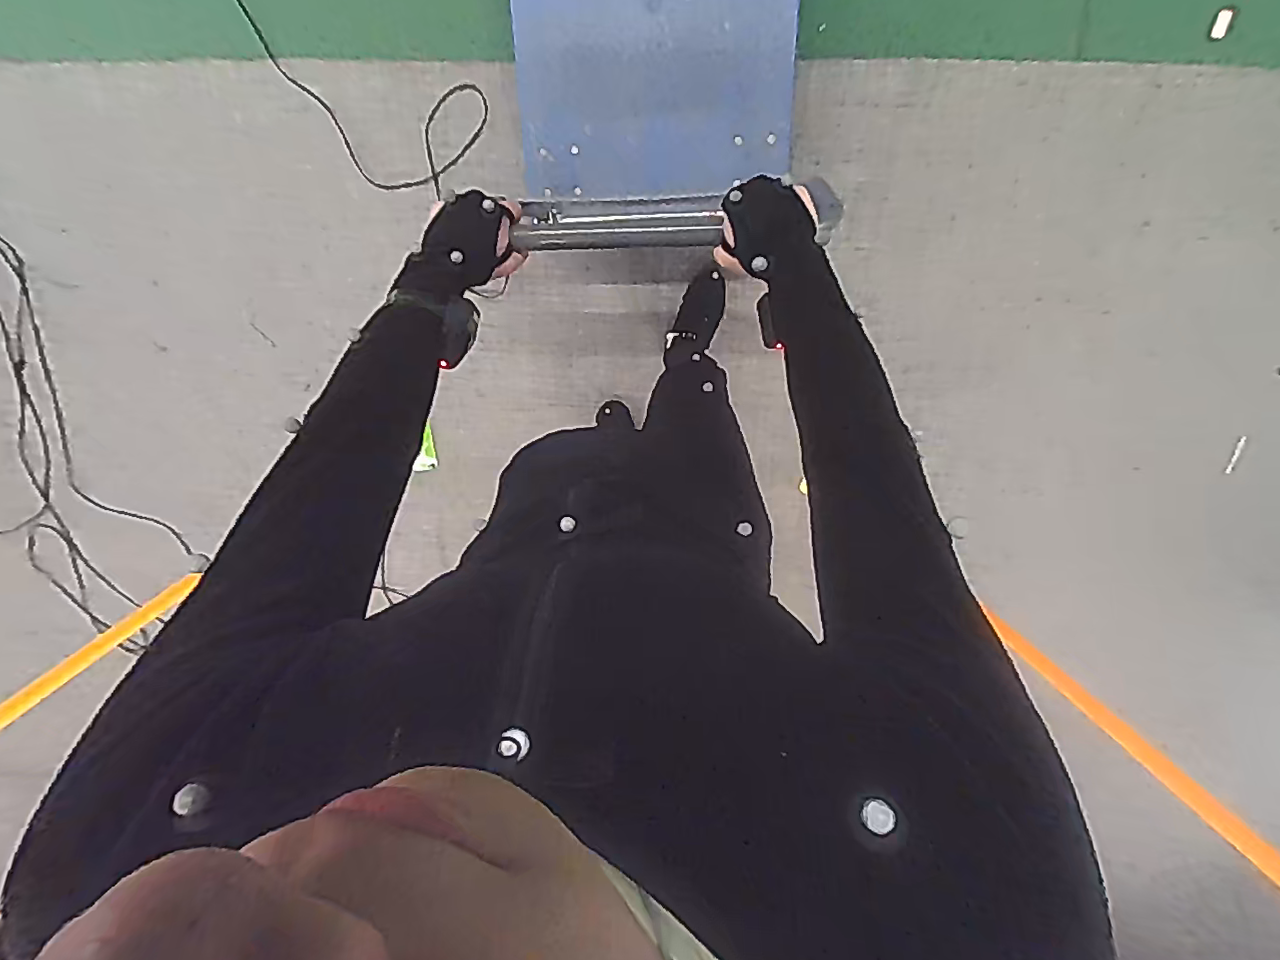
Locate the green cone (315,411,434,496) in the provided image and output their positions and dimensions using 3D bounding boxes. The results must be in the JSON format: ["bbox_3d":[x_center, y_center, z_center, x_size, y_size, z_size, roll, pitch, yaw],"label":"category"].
[{"bbox_3d":[-0.753,-0.049,1.484,0.202,0.368,0.200,0,112,7],"label":"green cone"}]
